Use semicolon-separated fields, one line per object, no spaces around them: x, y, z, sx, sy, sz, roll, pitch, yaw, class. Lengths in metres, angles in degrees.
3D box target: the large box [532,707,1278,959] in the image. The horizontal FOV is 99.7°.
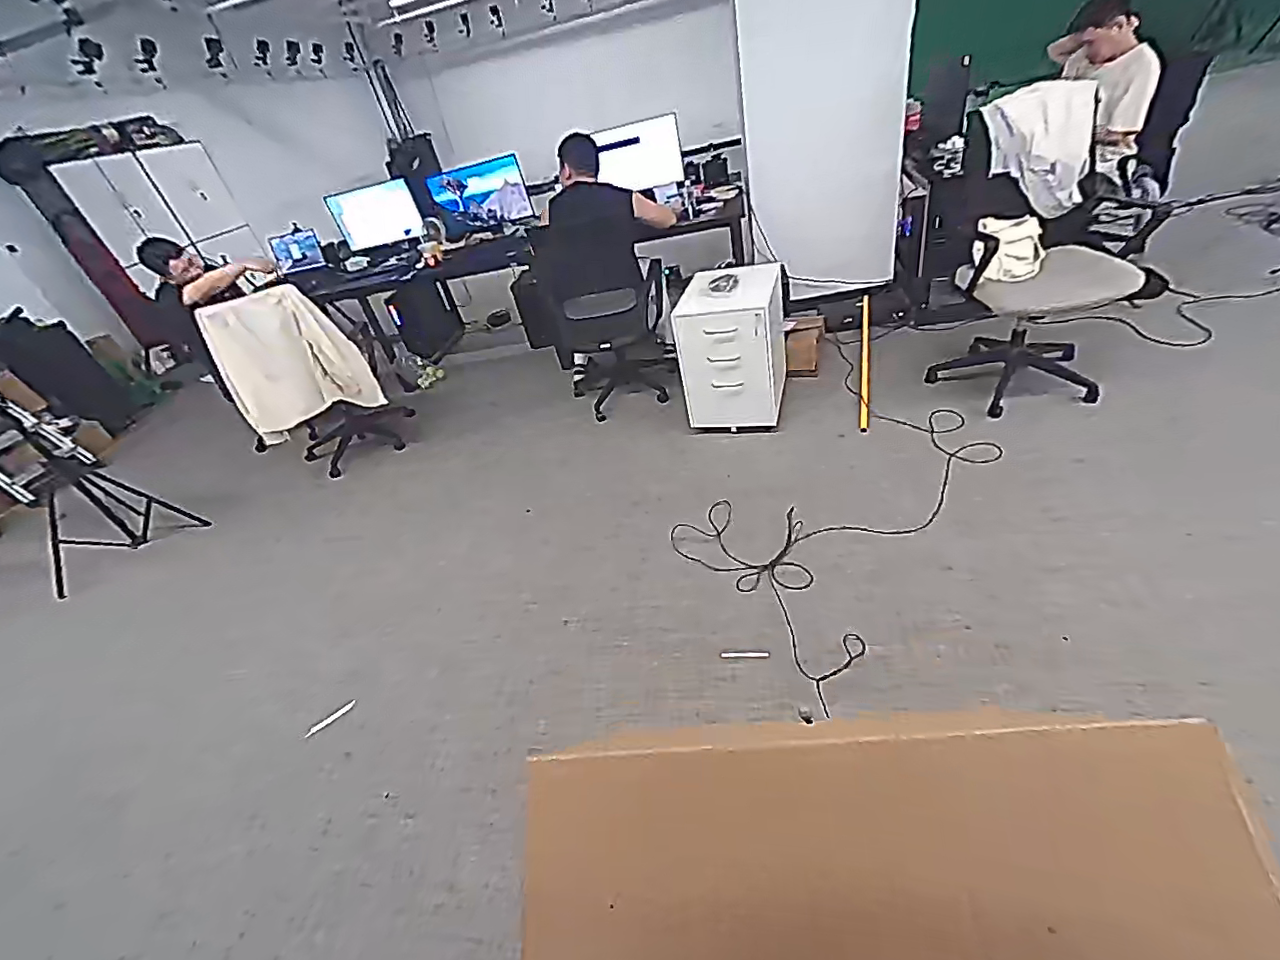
0.162;0.366;0.423;0.408;0.320;0.320;-8;67;8;large box
